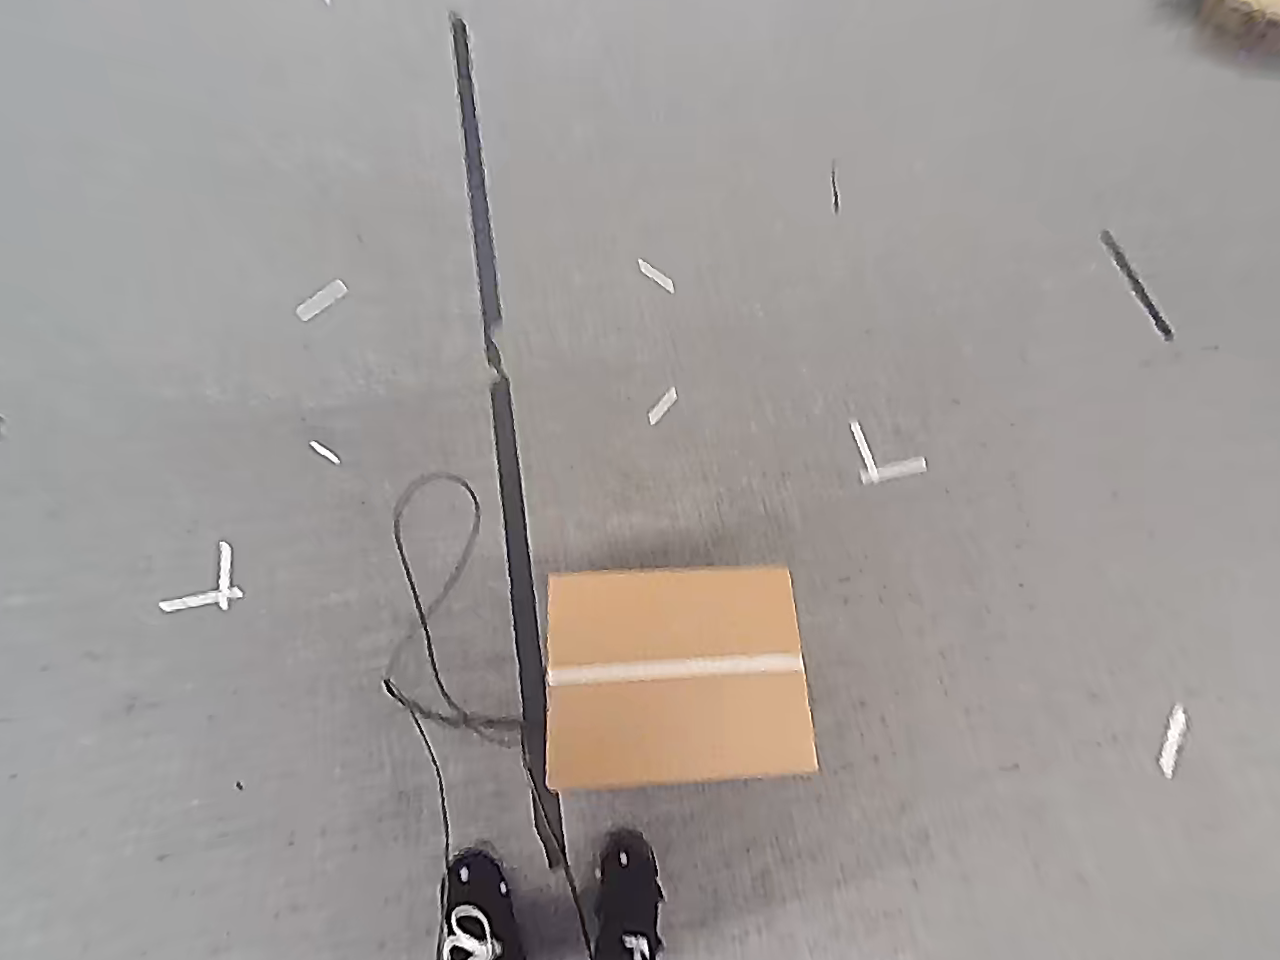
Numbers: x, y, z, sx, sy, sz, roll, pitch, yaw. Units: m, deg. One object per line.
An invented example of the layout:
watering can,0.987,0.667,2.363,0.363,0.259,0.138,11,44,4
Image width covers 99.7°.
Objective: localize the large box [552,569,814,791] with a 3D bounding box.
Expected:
large box,0.049,0.356,0.997,0.408,0.320,0.320,-1,70,-5
